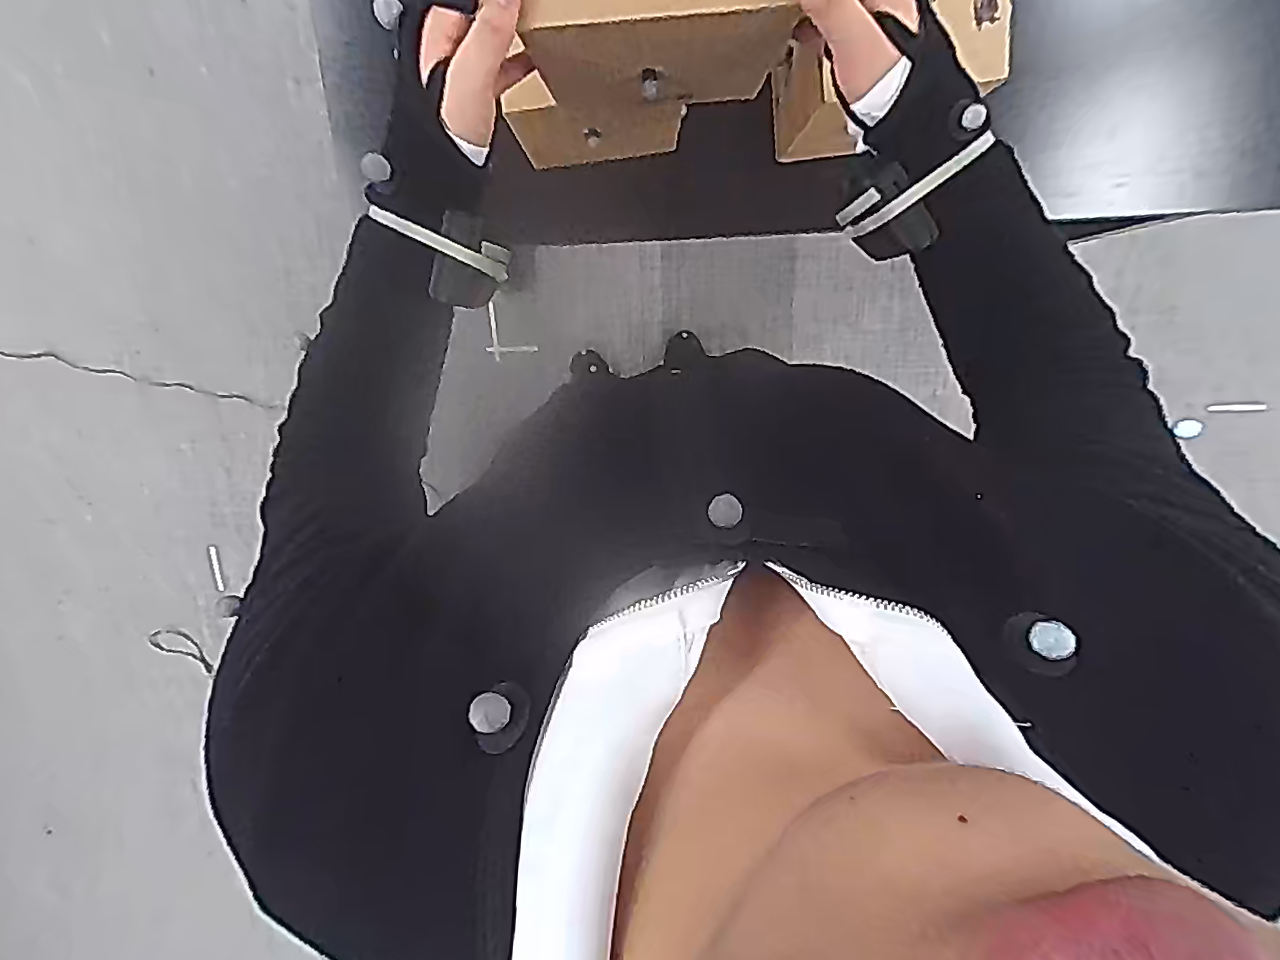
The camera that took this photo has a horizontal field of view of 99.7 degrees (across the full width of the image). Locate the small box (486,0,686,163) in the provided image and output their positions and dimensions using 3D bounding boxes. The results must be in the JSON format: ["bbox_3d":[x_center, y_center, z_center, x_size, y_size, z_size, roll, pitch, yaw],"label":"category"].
[{"bbox_3d":[-0.052,-0.455,0.564,0.179,0.176,0.168,-7,103,2],"label":"small box"}]

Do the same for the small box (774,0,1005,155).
[{"bbox_3d":[0.243,-0.463,0.564,0.179,0.176,0.168,-6,103,2],"label":"small box"}]
